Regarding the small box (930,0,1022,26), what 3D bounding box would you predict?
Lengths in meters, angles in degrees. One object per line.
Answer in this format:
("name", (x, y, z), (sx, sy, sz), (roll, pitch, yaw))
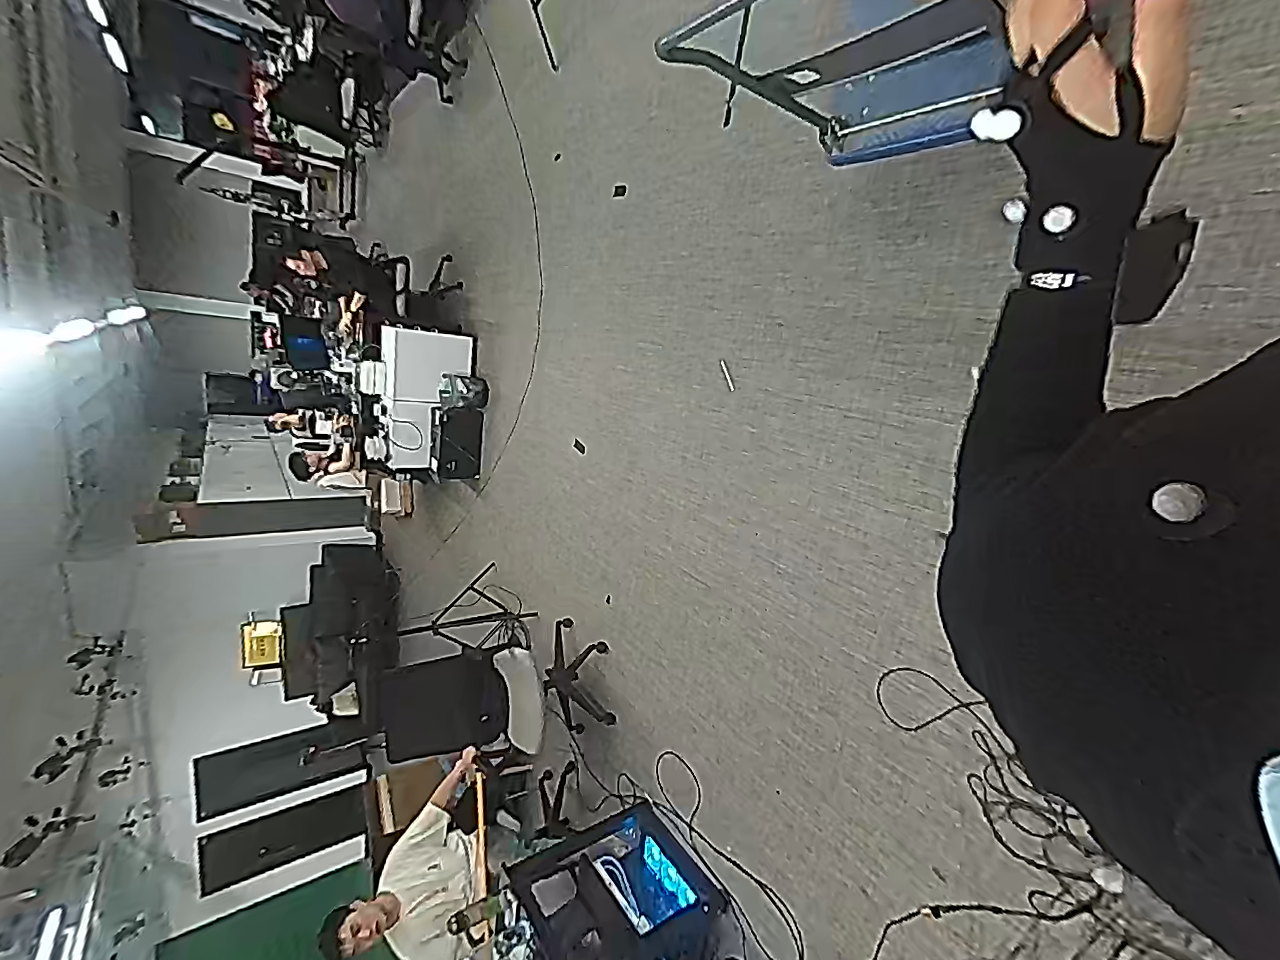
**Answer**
("small box", (0.713, -1.096, 1.118), (0.179, 0.176, 0.168), (21, 109, 50))
